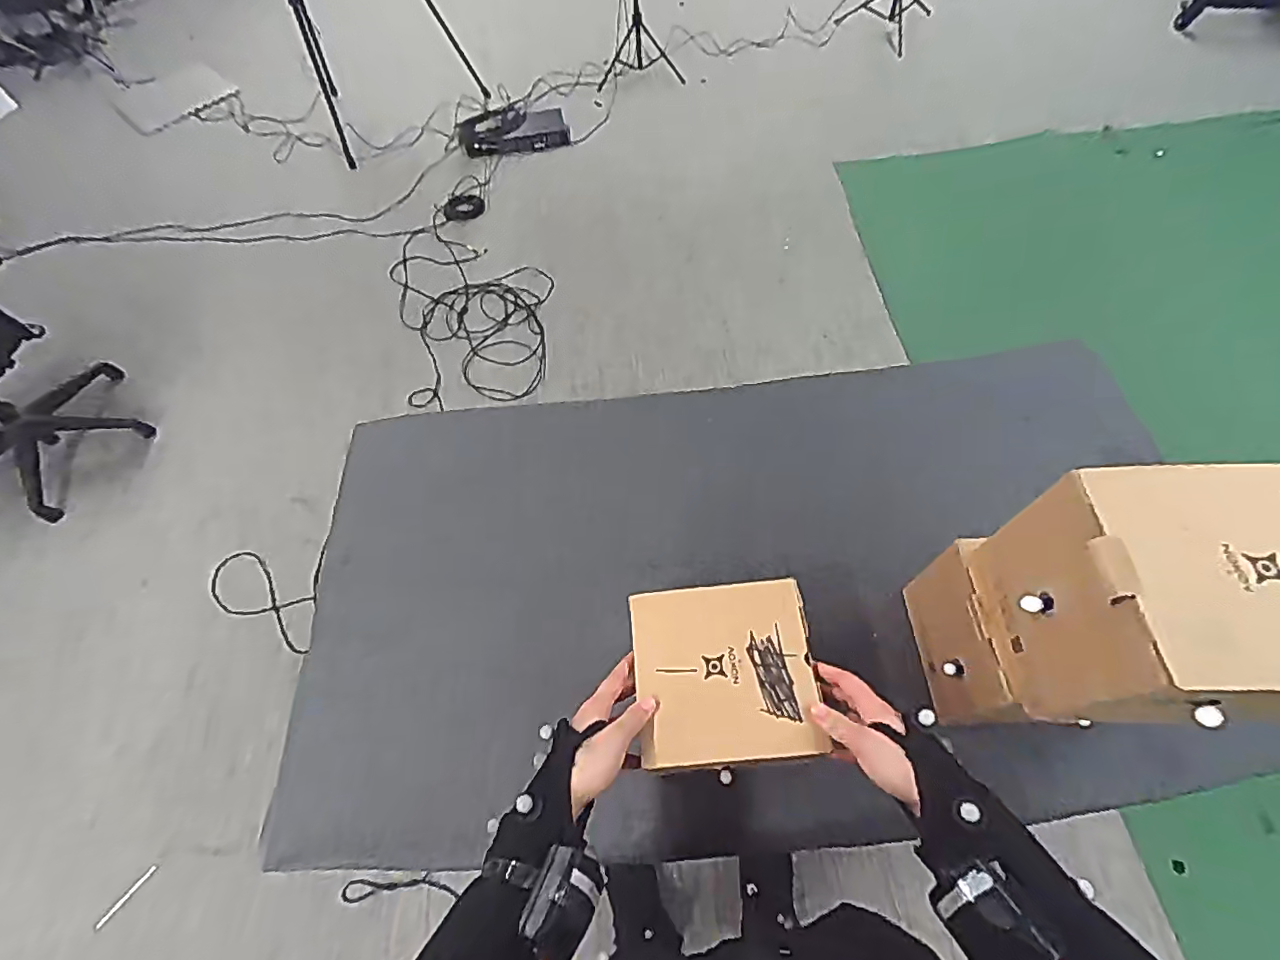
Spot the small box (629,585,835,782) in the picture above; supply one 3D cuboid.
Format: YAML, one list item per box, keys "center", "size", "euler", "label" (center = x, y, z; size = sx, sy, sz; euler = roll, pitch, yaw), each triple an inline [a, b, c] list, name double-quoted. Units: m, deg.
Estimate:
- center: [0.087, 0.224, 0.581]
  size: [0.179, 0.176, 0.168]
  euler: [-7, 58, 3]
  label: "small box"

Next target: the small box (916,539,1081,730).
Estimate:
- center: [0.422, 0.170, 0.581]
  size: [0.179, 0.176, 0.168]
  euler: [-3, 60, 3]
  label: "small box"

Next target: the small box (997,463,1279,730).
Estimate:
- center: [0.421, 0.100, 0.431]
  size: [0.179, 0.176, 0.168]
  euler: [-1, 60, 5]
  label: "small box"
